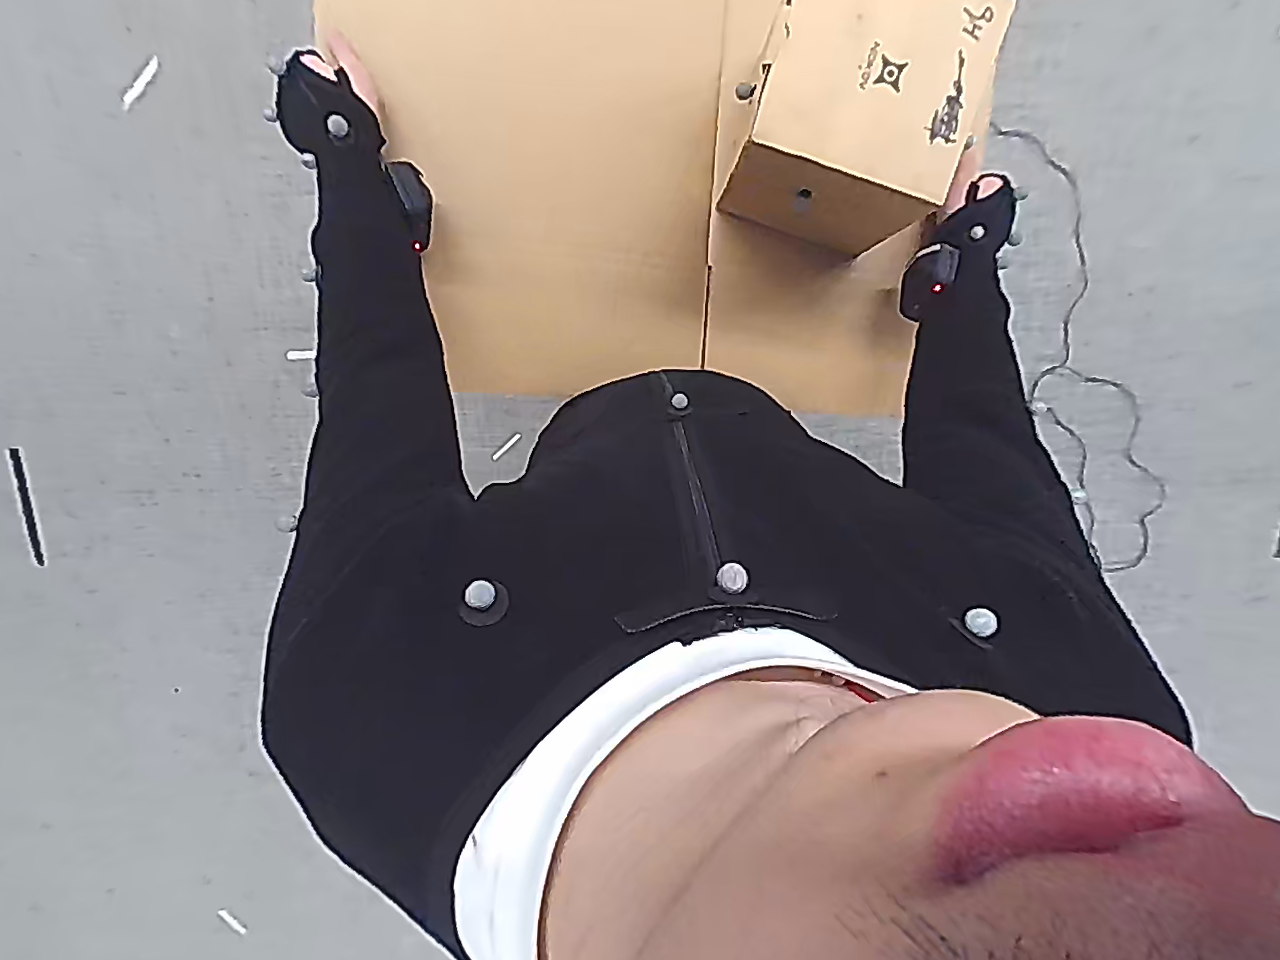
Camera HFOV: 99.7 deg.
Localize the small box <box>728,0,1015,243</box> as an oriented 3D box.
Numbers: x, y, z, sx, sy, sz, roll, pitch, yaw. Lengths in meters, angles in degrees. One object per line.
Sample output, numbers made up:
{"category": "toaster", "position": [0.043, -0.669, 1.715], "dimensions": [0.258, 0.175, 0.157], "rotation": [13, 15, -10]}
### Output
{"category": "small box", "position": [0.196, -0.350, 0.520], "dimensions": [0.179, 0.176, 0.168], "rotation": [16, 99, -3]}
